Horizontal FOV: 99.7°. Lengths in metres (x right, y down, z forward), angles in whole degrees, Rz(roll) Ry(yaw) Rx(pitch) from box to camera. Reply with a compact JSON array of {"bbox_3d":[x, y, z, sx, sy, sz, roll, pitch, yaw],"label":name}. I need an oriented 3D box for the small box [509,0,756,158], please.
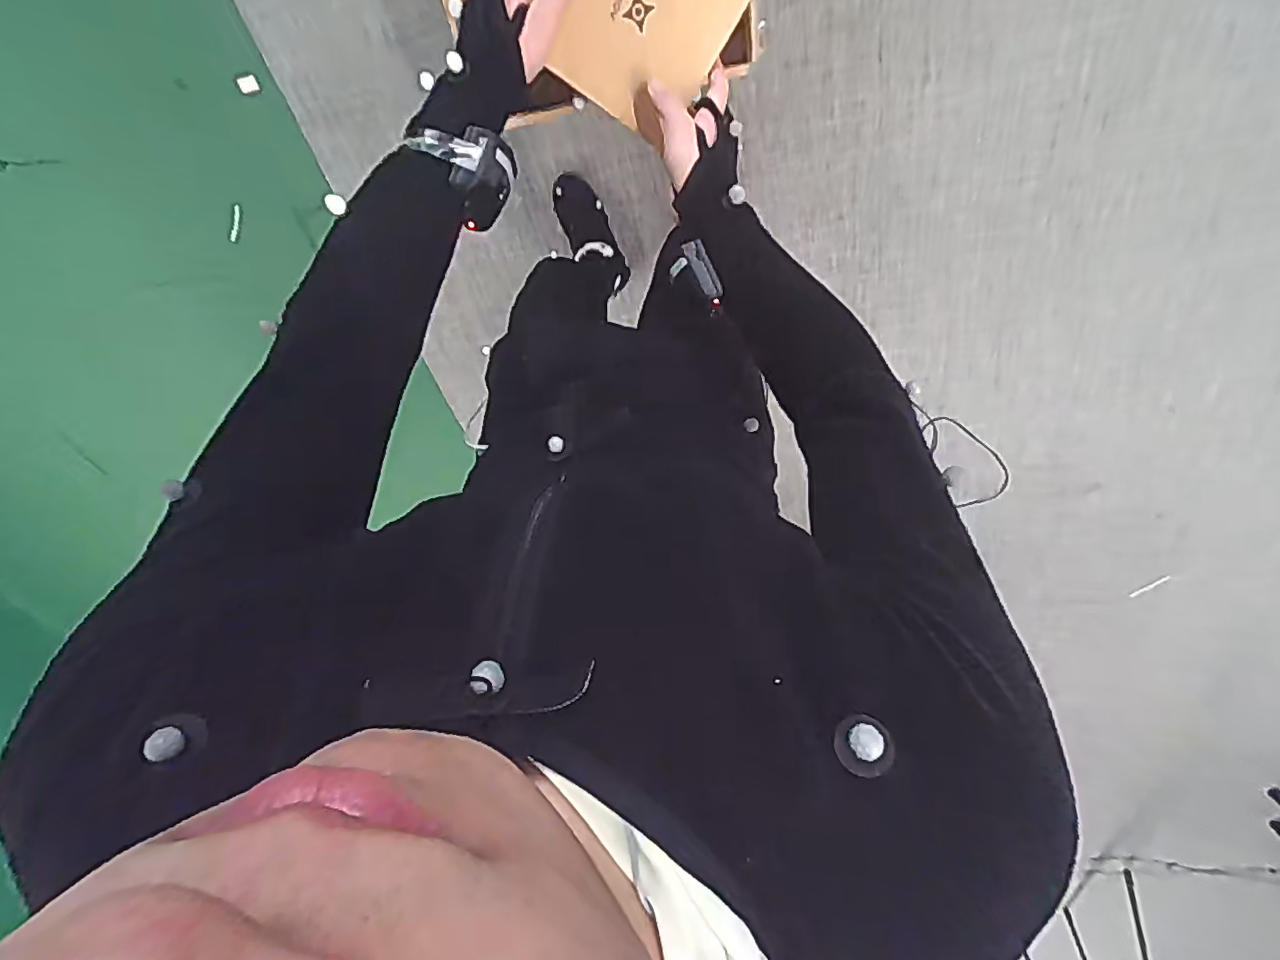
[{"bbox_3d":[-0.008,-0.474,0.554,0.179,0.176,0.168,26,124,-21],"label":"small box"}]
